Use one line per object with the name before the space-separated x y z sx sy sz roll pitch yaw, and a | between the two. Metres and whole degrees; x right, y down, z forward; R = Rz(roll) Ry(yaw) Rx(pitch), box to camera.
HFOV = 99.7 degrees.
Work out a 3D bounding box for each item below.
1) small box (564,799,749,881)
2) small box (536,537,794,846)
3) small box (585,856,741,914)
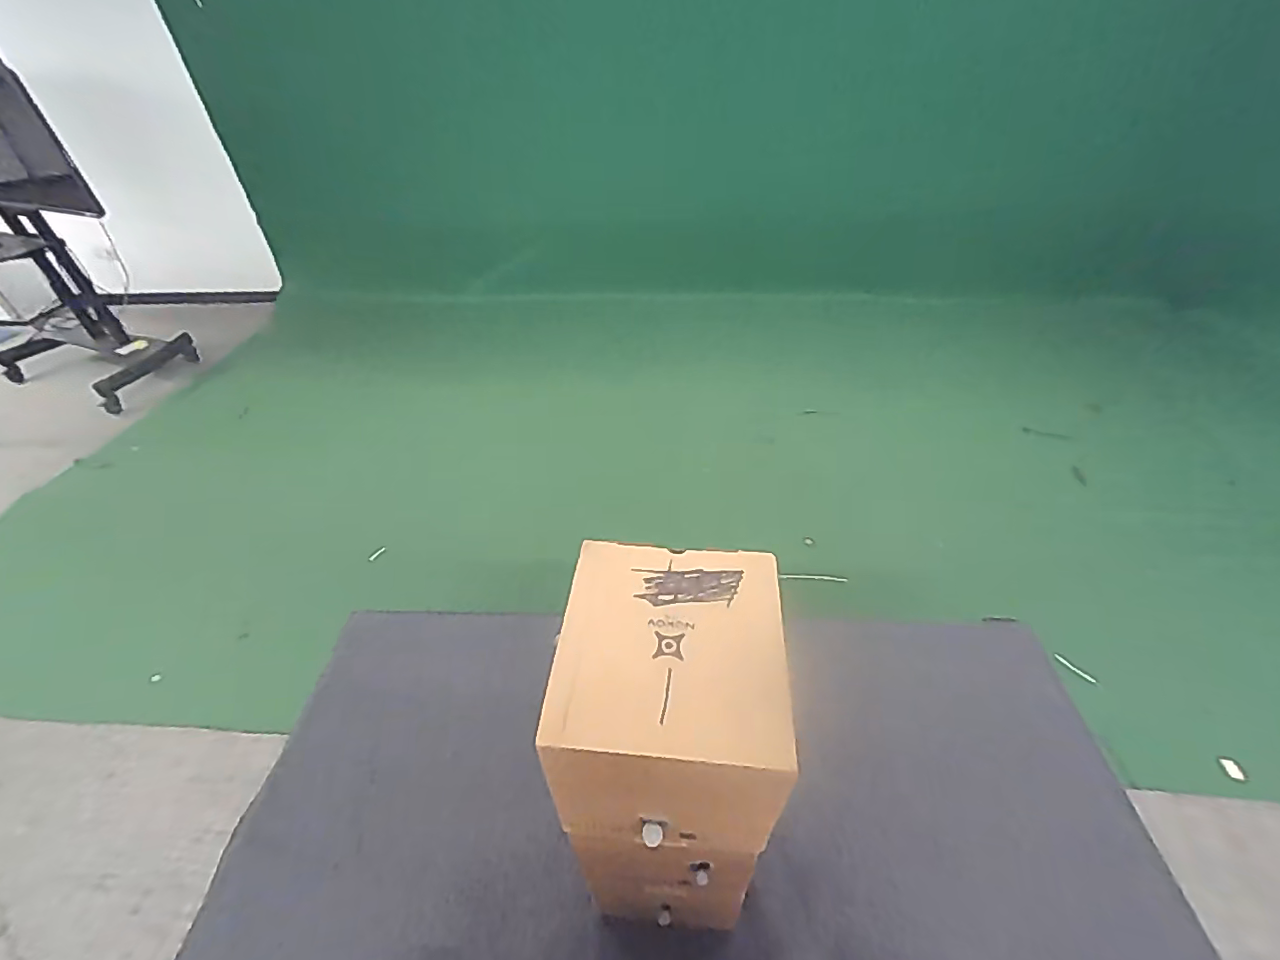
small box | 0.027 0.290 0.561 0.168 0.176 0.179 2 41 4
small box | 0.024 0.171 0.448 0.168 0.176 0.179 3 44 6
small box | 0.036 0.411 0.670 0.168 0.176 0.179 2 43 6
